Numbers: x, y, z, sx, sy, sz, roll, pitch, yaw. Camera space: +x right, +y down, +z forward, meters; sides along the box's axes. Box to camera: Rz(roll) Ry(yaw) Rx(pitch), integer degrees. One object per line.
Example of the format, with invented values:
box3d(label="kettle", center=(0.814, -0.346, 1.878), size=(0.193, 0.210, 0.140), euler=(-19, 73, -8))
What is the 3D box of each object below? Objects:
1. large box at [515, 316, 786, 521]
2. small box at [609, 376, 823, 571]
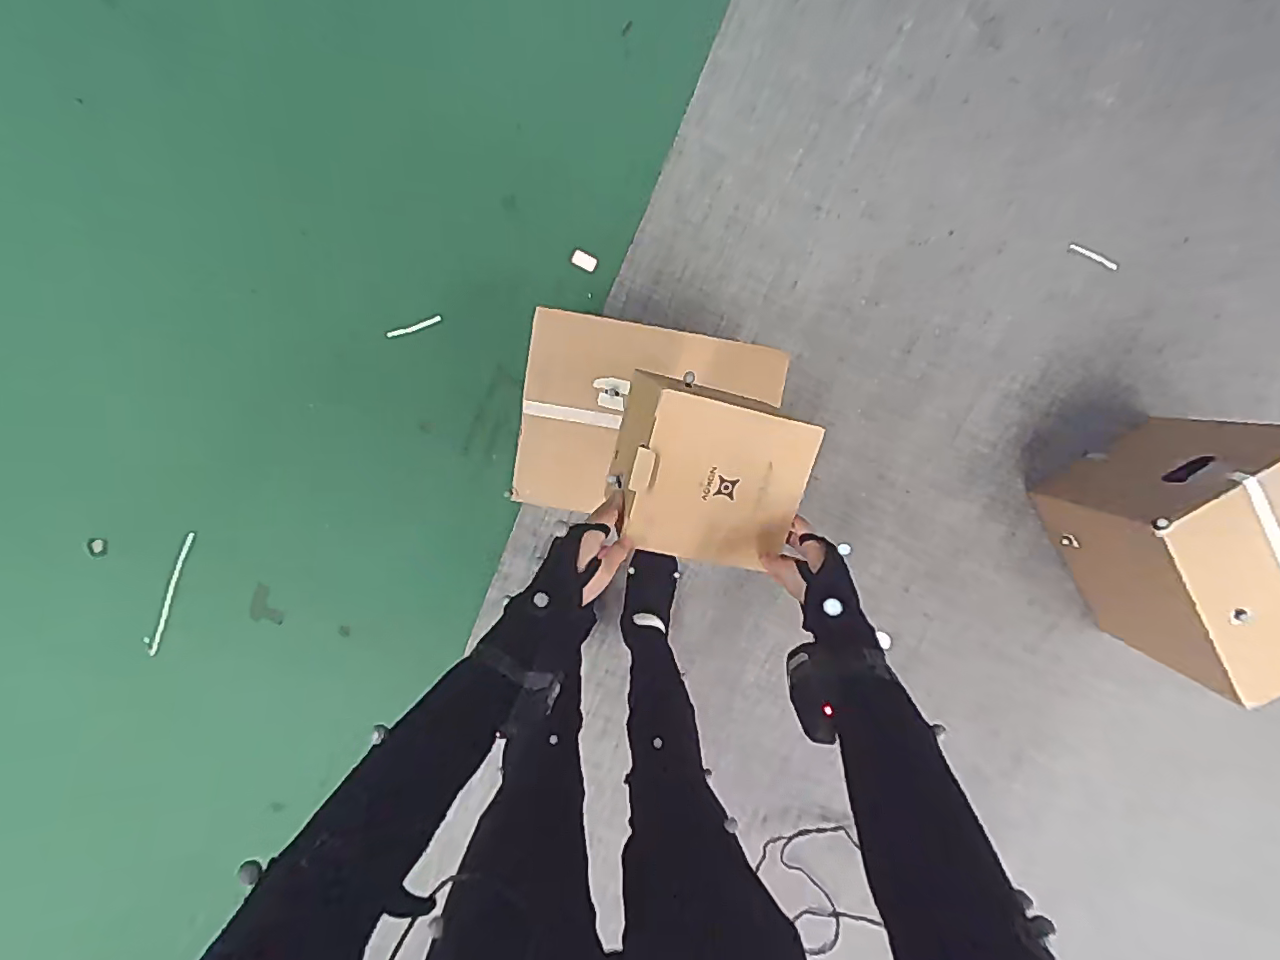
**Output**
box3d(label="large box", center=(0.016, -0.104, 1.008), size=(0.408, 0.320, 0.320), euler=(9, 99, -1))
box3d(label="small box", center=(0.069, -0.018, 0.618), size=(0.179, 0.176, 0.168), euler=(12, 105, -13))
